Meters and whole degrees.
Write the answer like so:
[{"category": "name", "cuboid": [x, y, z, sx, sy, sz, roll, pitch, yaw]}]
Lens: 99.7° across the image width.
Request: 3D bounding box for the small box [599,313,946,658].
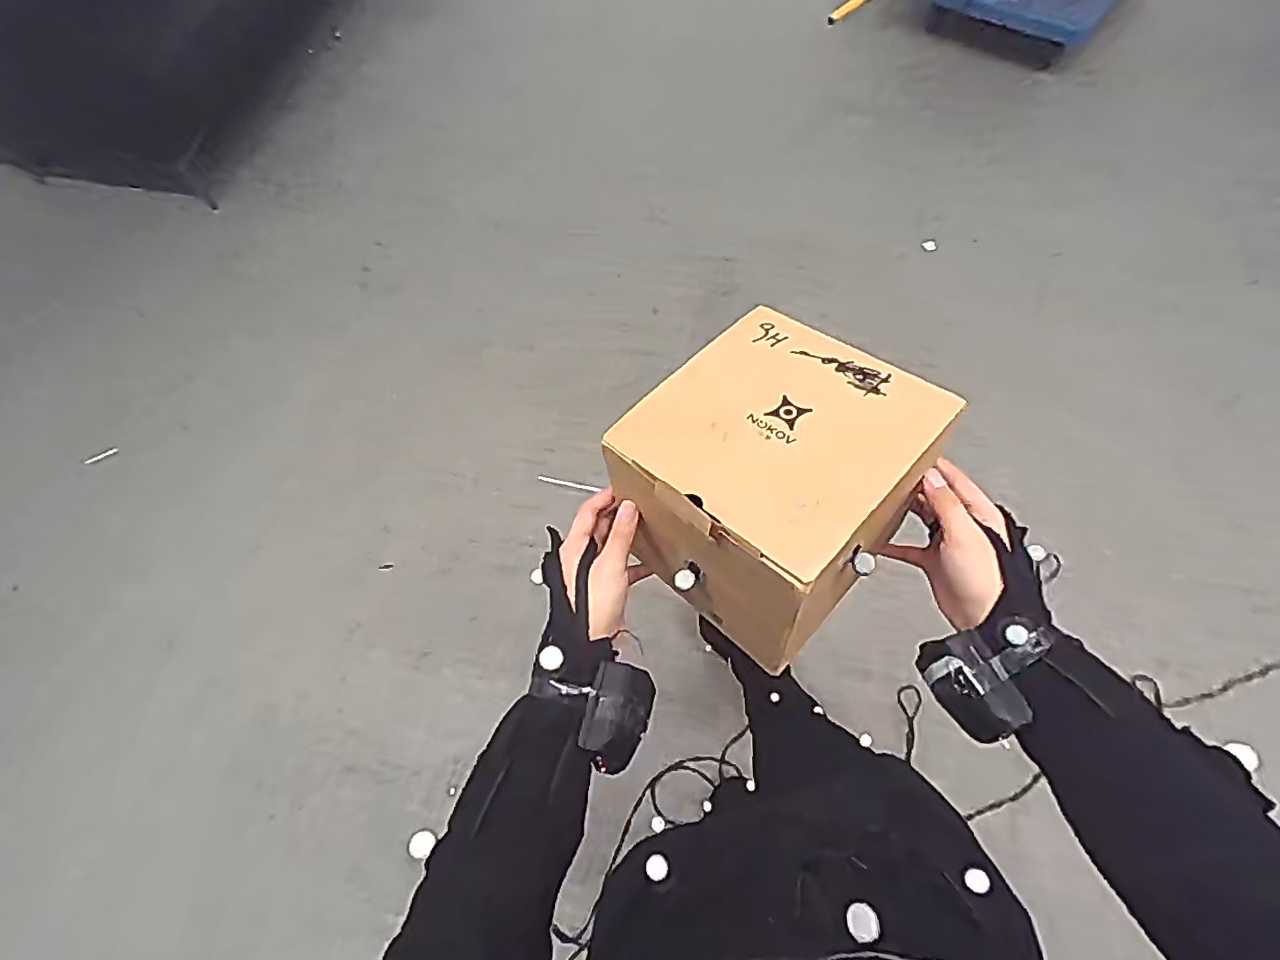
[{"category": "small box", "cuboid": [0.097, 0.009, 0.428, 0.168, 0.176, 0.179, 37, 68, 28]}]
